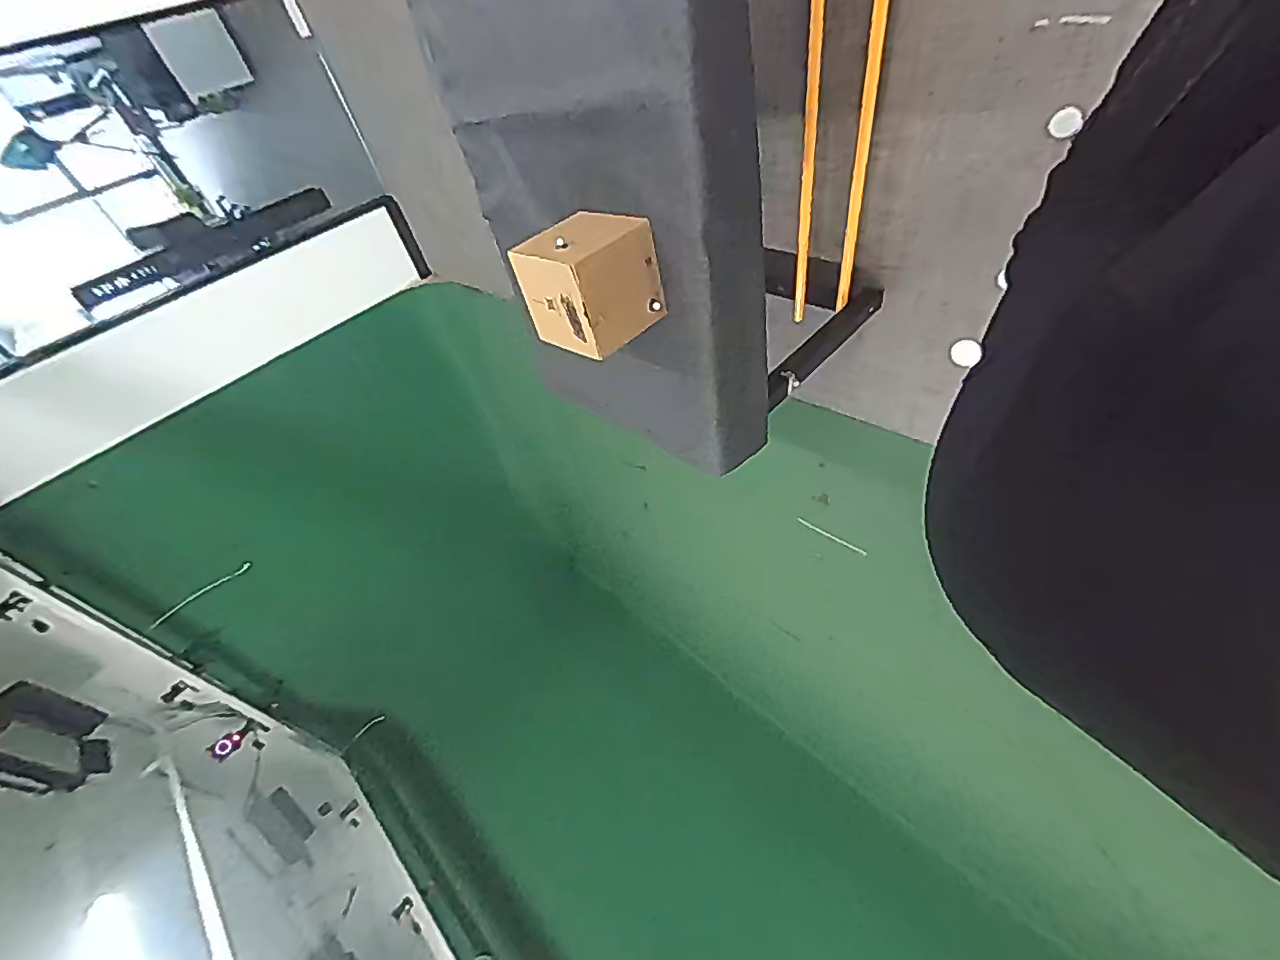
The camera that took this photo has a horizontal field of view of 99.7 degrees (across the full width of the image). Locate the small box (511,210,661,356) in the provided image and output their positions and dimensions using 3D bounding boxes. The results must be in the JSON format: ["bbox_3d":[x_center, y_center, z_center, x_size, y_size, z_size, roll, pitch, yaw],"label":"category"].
[{"bbox_3d":[-0.080,-0.340,0.919,0.179,0.176,0.168,29,149,38],"label":"small box"}]
